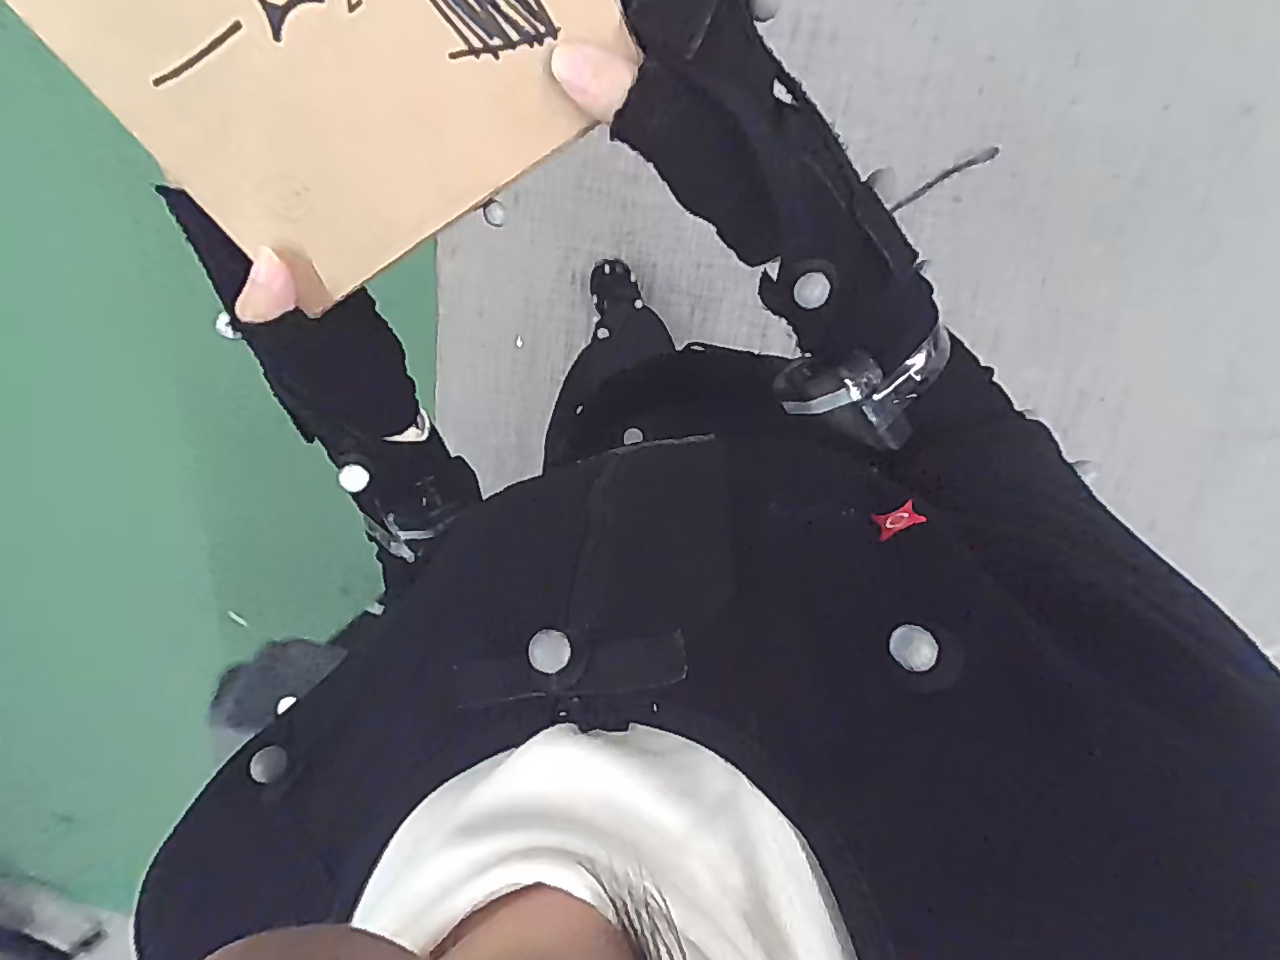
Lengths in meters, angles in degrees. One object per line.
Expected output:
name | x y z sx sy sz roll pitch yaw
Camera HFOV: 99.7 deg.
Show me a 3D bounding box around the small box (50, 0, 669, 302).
small box | -0.107 -0.219 0.243 0.179 0.176 0.168 -27 123 16
